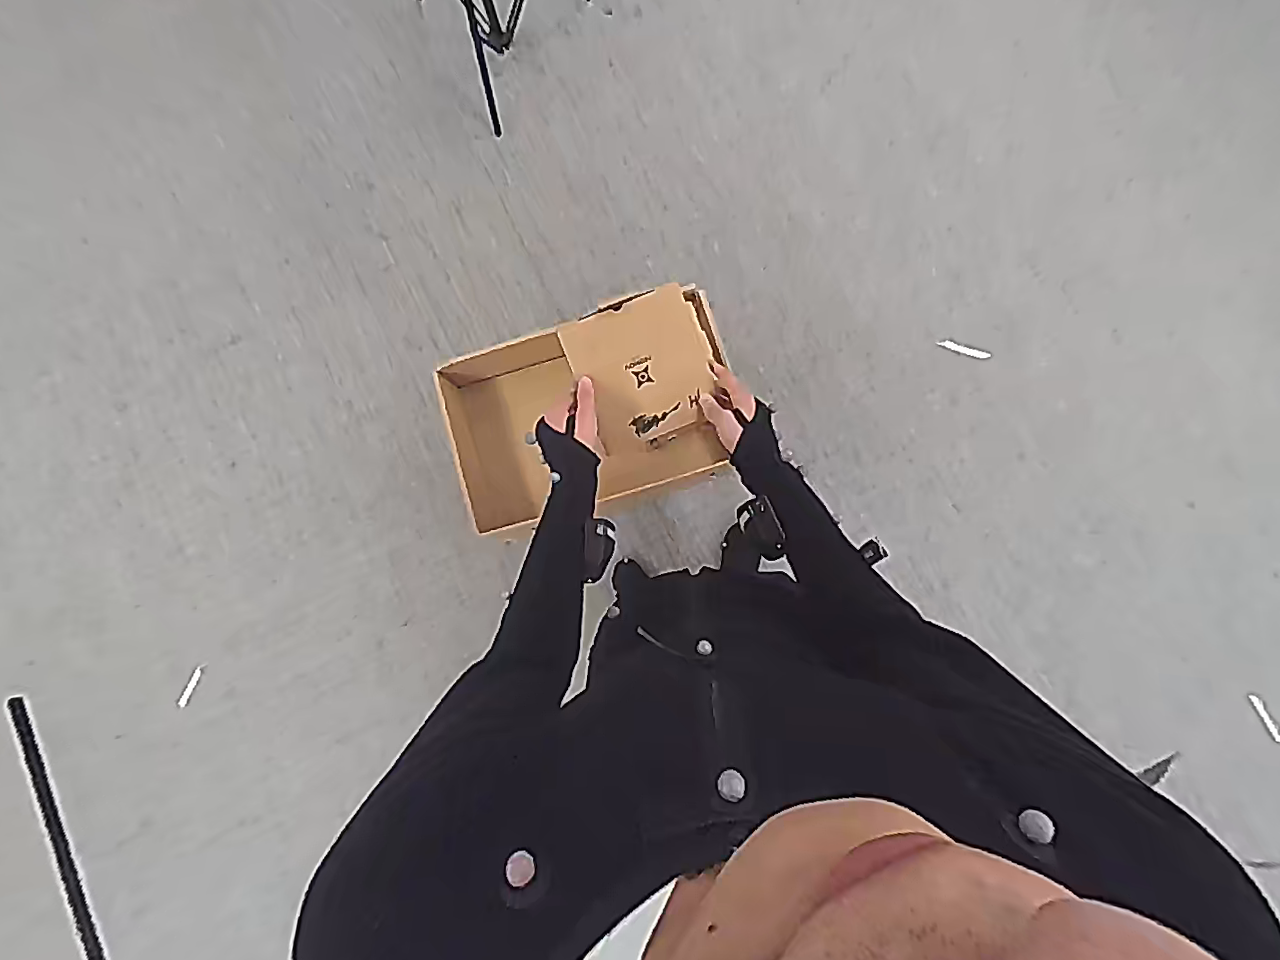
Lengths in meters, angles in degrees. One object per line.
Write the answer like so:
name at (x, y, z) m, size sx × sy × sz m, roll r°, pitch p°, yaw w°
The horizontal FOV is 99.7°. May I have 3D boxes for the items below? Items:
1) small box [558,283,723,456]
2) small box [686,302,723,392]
small box at (0.000, -0.146, 0.754) m, size 0.168 × 0.176 × 0.179 m, roll -20°, pitch 98°, yaw 3°
small box at (0.043, -0.201, 1.024) m, size 0.179 × 0.176 × 0.168 m, roll -20°, pitch 83°, yaw 1°
